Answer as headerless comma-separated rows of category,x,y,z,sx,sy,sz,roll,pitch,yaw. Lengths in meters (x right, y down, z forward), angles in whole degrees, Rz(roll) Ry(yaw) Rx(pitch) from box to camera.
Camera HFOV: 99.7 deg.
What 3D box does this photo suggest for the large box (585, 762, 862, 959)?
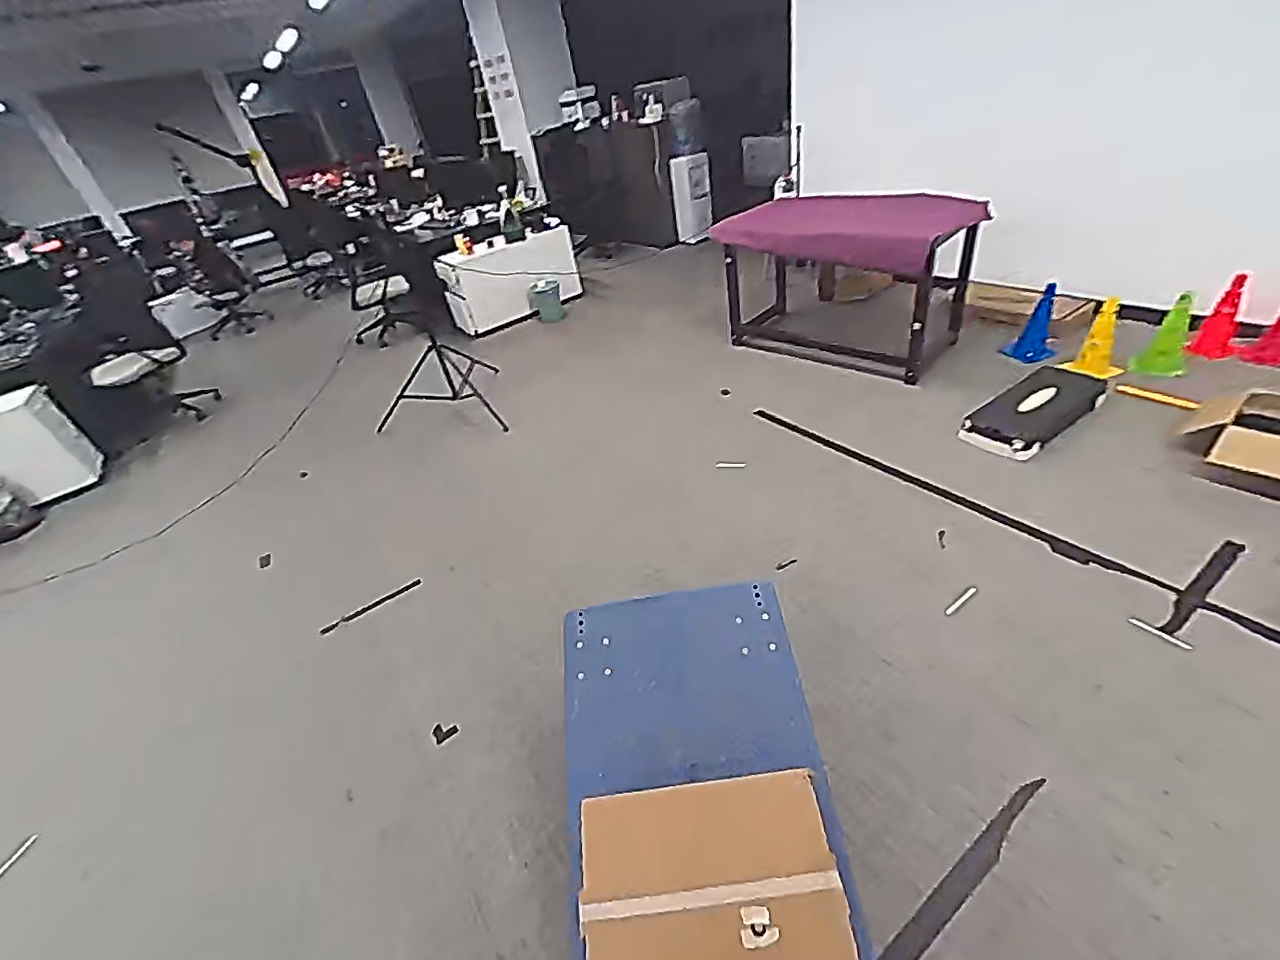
large box,0.133,0.743,0.988,0.408,0.320,0.320,-10,54,1
